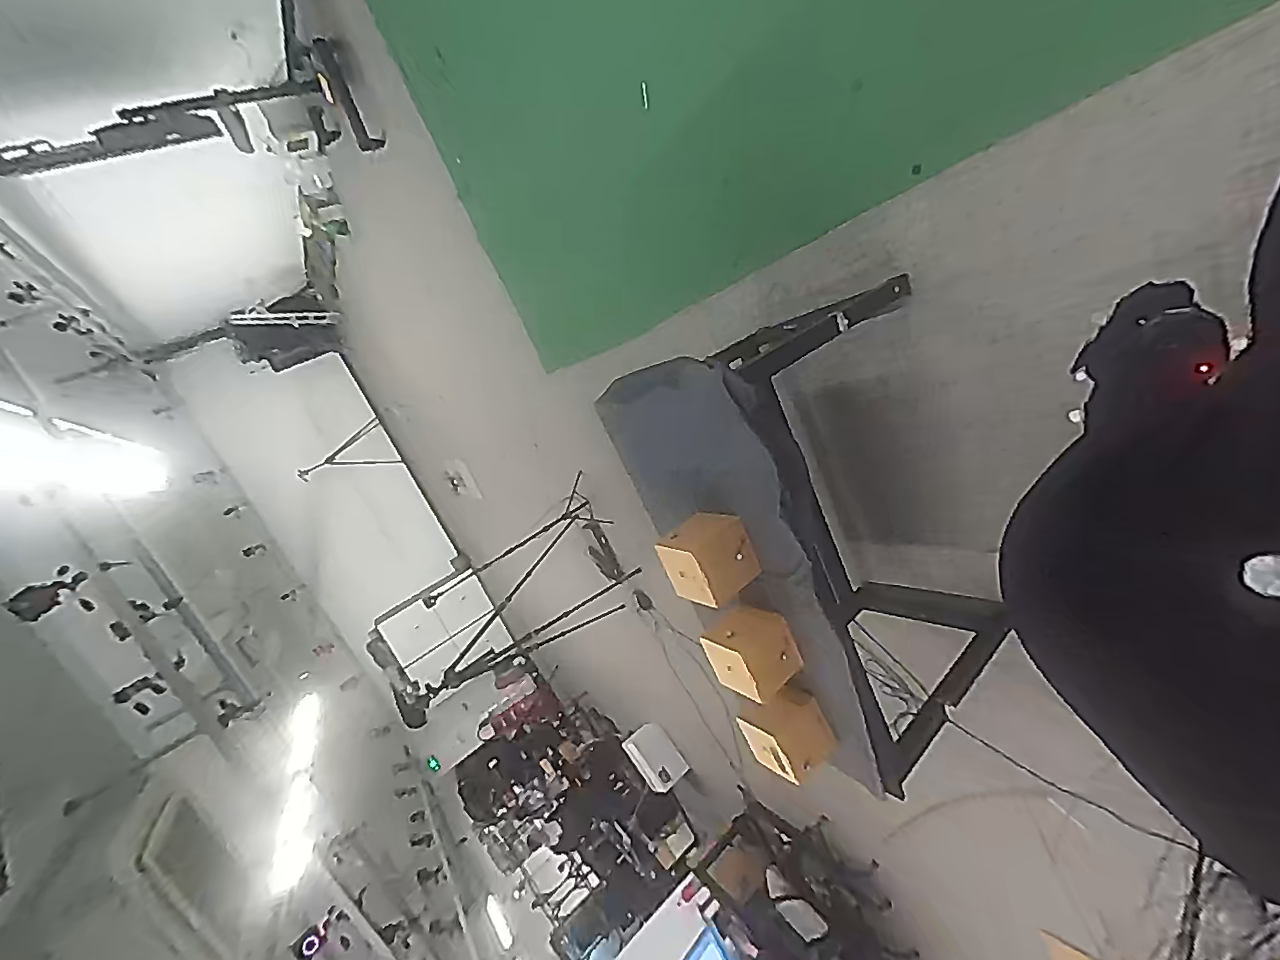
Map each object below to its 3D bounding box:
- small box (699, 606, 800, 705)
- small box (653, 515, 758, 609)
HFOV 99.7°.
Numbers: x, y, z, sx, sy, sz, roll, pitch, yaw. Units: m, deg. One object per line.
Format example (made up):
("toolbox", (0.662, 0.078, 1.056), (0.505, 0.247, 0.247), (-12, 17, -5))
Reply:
("small box", (0.296, 0.463, 1.462), (0.179, 0.176, 0.168), (-1, 117, 58))
("small box", (0.169, 0.203, 1.391), (0.179, 0.176, 0.168), (0, 119, 58))
